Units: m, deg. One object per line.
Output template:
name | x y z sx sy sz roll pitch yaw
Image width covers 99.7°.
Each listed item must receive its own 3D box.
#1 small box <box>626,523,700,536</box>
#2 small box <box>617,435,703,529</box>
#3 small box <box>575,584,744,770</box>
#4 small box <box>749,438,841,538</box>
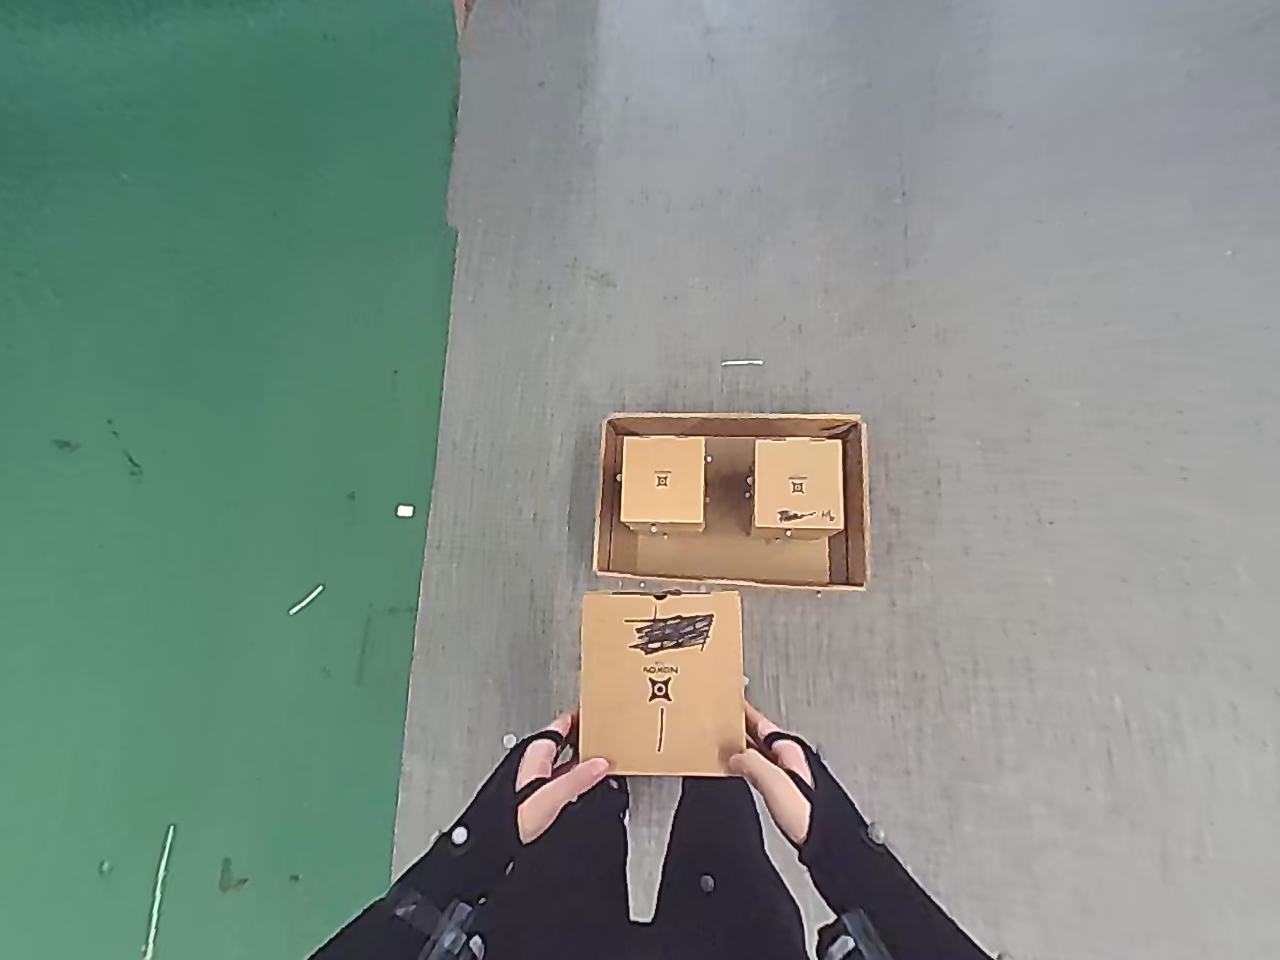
small box | 0.065 0.040 1.308 0.168 0.176 0.179 2 79 7
small box | 0.049 0.010 1.150 0.168 0.176 0.179 1 79 7
small box | 0.023 0.214 0.618 0.168 0.176 0.179 -1 76 3
small box | 0.312 0.020 1.113 0.168 0.176 0.179 1 79 10
